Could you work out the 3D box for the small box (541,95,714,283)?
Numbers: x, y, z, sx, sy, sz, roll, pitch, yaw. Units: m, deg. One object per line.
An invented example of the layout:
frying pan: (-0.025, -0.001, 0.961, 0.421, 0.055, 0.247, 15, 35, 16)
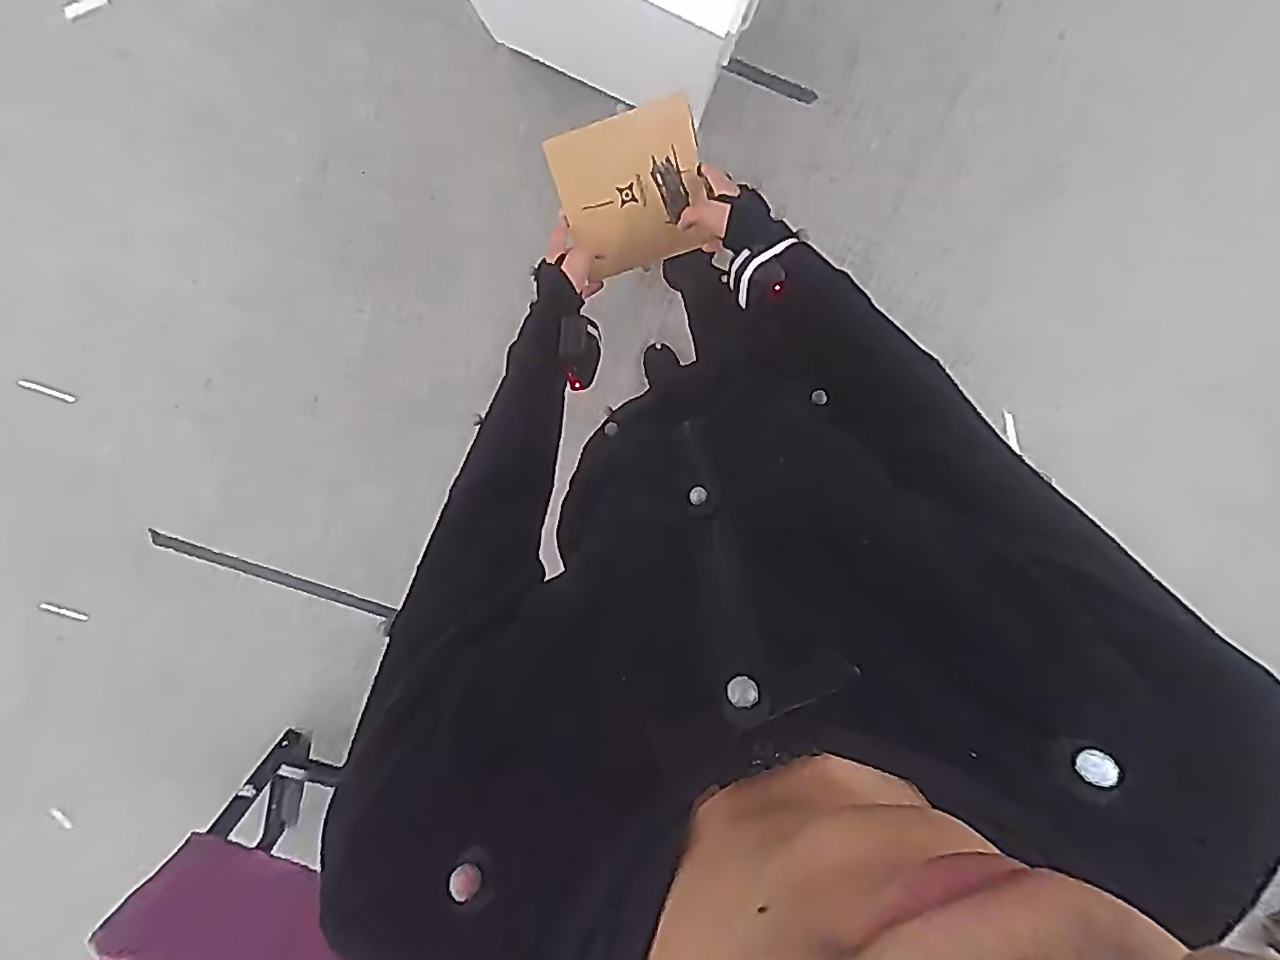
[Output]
small box: (-0.016, -0.381, 0.722, 0.179, 0.176, 0.168, -16, 116, 5)
